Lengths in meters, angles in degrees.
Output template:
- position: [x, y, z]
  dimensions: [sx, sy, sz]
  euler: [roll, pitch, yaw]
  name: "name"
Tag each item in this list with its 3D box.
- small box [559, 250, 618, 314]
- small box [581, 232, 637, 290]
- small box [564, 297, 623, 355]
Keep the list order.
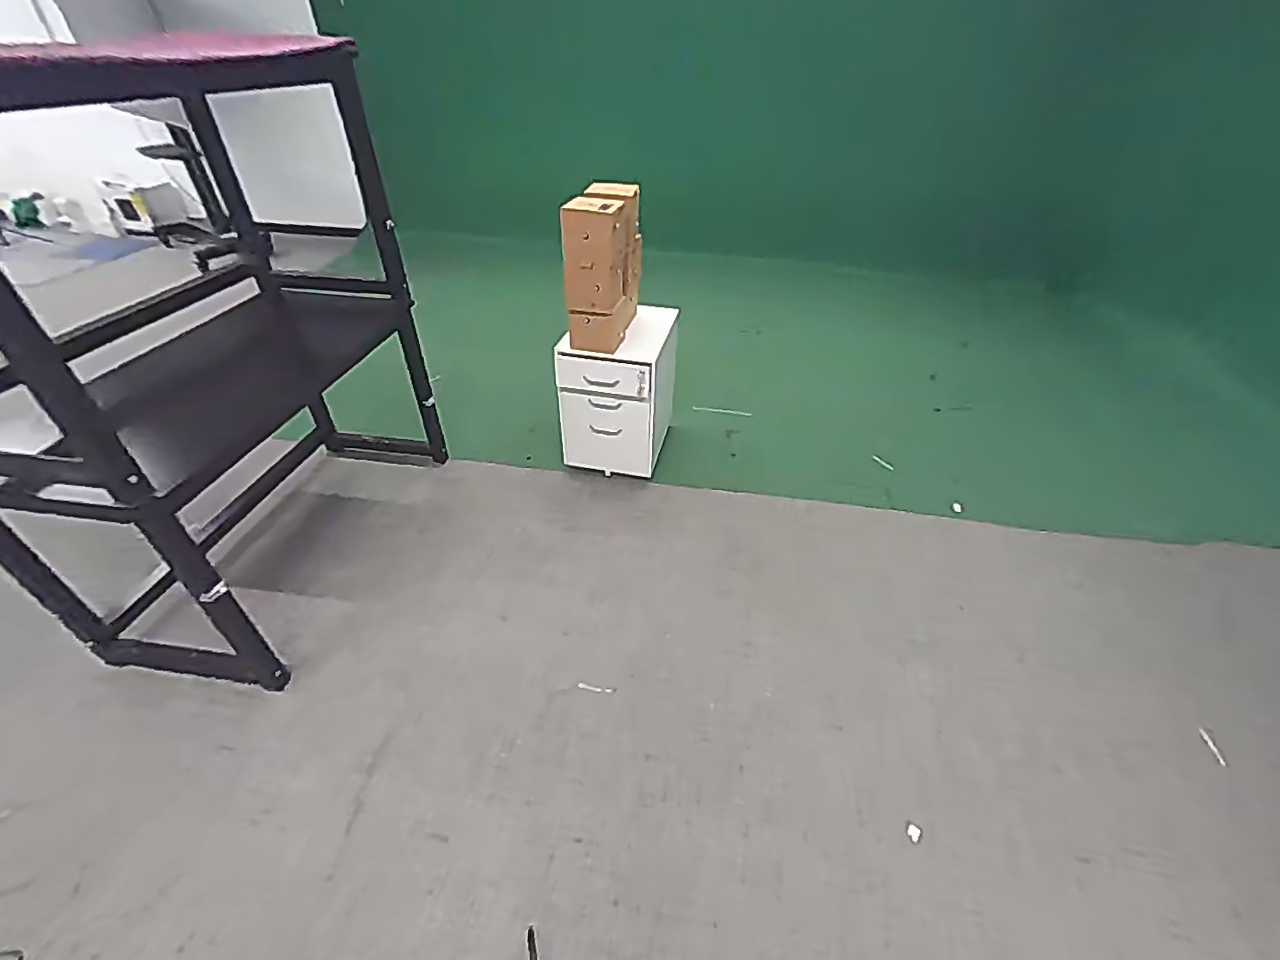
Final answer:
- position: [-0.177, -0.701, 1.916]
  dimensions: [0.168, 0.176, 0.179]
  euler: [10, 39, 8]
  name: "small box"
- position: [-0.119, -0.852, 2.107]
  dimensions: [0.179, 0.176, 0.168]
  euler: [12, 40, 11]
  name: "small box"
- position: [-0.172, -0.584, 2.029]
  dimensions: [0.179, 0.176, 0.168]
  euler: [11, 39, 11]
  name: "small box"
